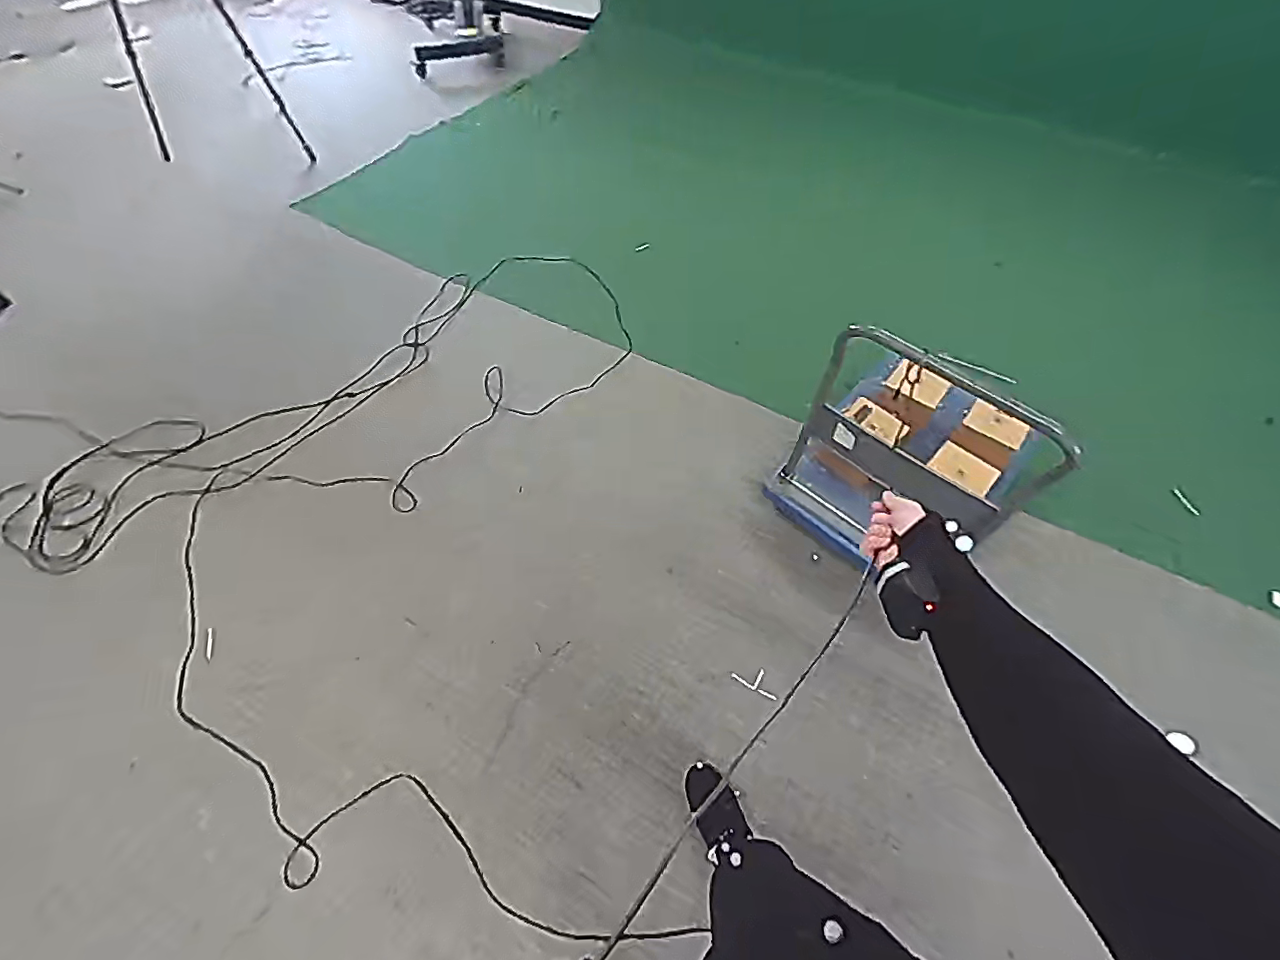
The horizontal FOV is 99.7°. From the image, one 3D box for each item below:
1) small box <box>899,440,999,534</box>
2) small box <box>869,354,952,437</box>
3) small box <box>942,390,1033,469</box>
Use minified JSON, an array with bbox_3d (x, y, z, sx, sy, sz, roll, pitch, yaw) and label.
[{"bbox_3d":[0.896,0.023,1.588,0.168,0.176,0.179,39,64,22],"label":"small box"},{"bbox_3d":[0.884,-0.273,1.785,0.168,0.176,0.179,35,62,20],"label":"small box"},{"bbox_3d":[1.080,-0.142,1.698,0.168,0.176,0.179,34,63,21],"label":"small box"}]
